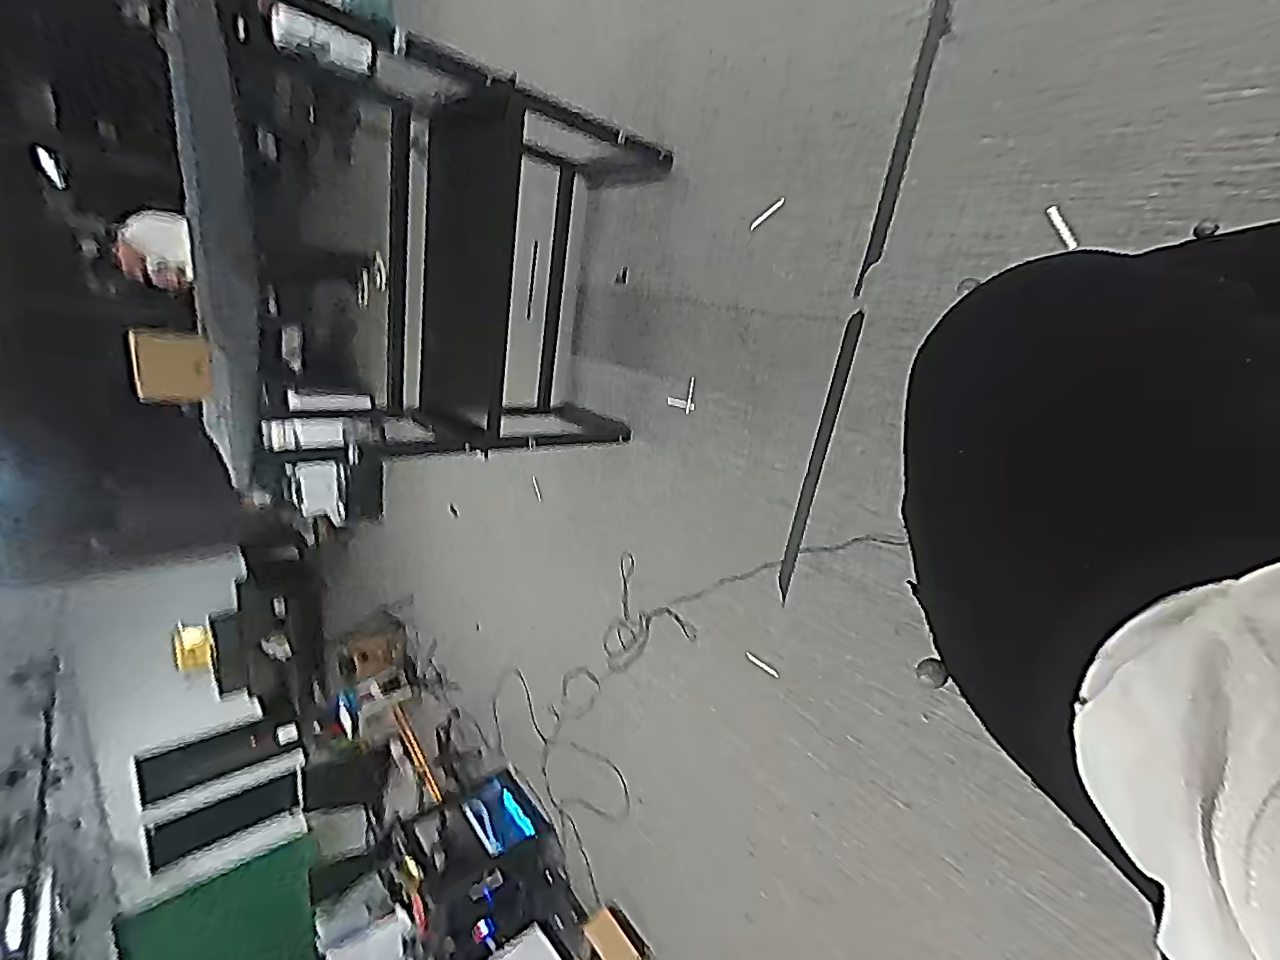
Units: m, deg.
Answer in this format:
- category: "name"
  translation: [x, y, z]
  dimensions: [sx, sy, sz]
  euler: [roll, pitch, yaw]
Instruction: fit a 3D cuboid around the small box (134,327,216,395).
- category: "small box"
  translation: [-1.407, -0.358, 1.638]
  dimensions: [0.168, 0.176, 0.179]
  euler: [23, 111, 43]
